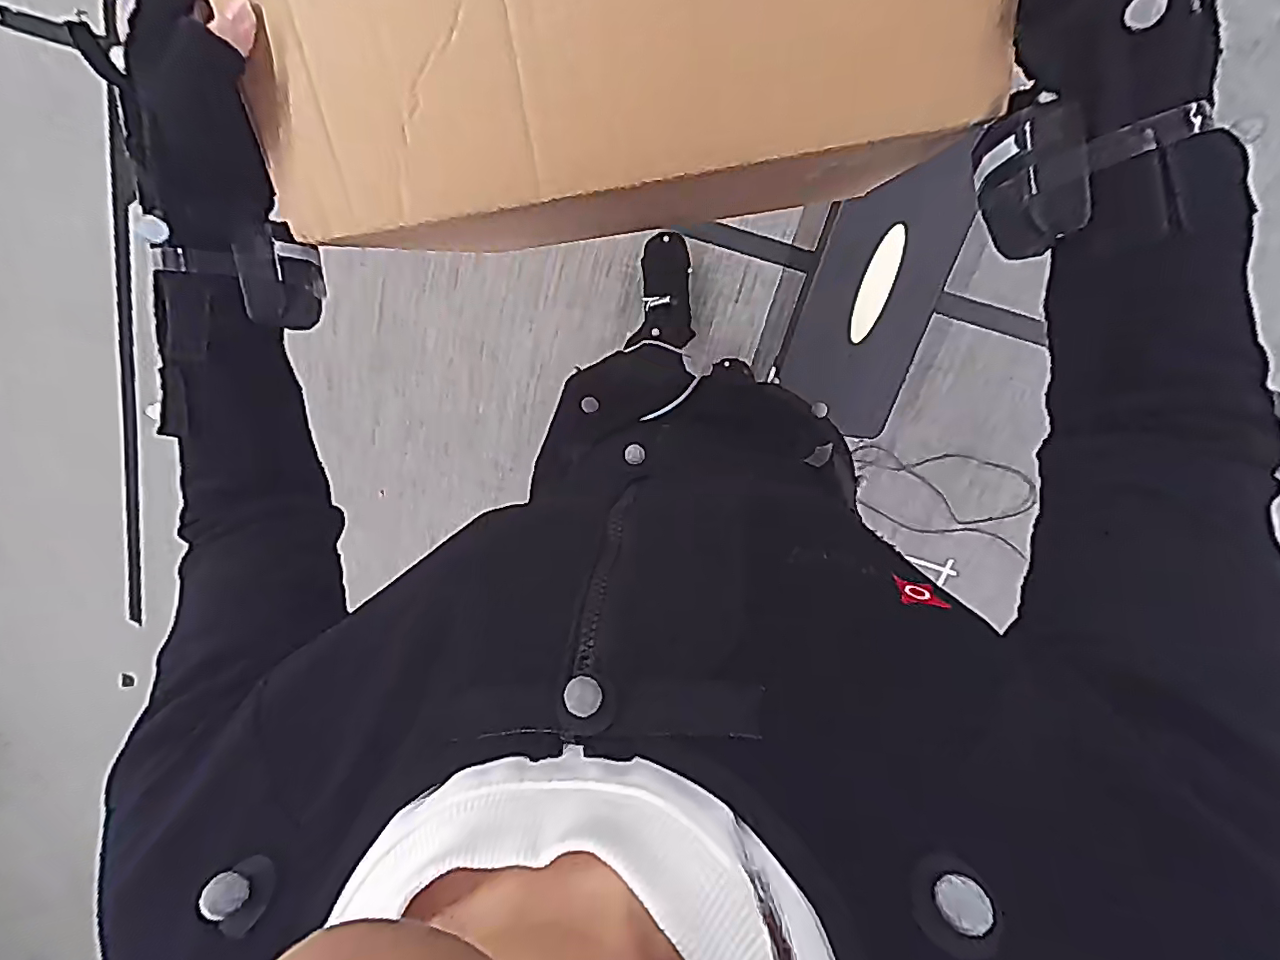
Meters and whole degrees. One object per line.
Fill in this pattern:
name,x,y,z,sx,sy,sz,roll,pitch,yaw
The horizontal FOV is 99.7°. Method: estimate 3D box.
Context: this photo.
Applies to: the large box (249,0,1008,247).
large box,-0.012,-0.374,0.398,0.408,0.320,0.320,-5,111,11
